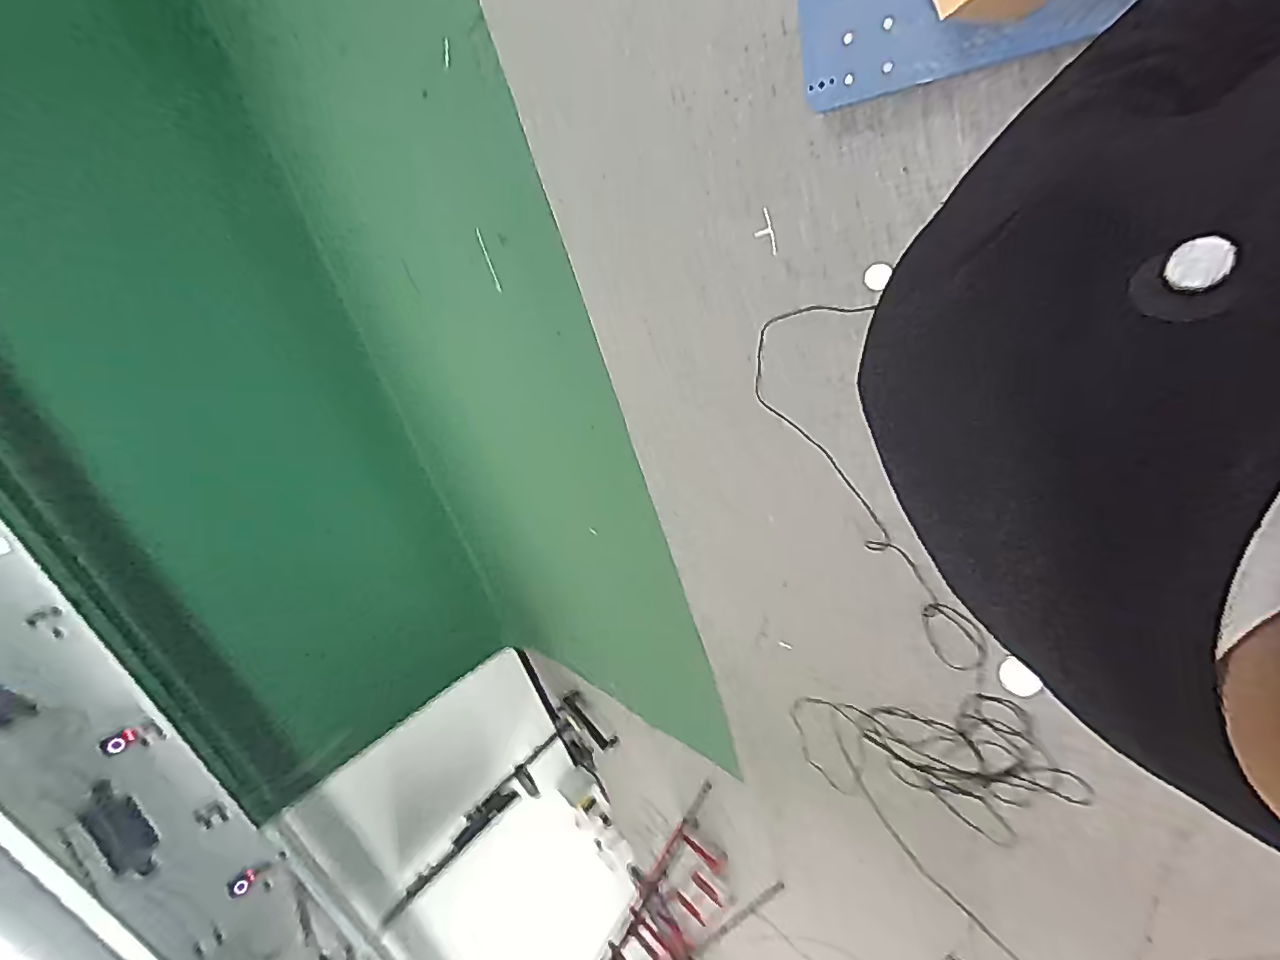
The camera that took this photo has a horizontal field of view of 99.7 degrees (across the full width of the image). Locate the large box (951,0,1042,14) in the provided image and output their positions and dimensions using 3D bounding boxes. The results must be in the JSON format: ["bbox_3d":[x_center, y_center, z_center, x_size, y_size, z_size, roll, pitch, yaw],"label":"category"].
[{"bbox_3d":[0.539,-0.911,0.678,0.320,0.320,0.408,-12,107,55],"label":"large box"}]
